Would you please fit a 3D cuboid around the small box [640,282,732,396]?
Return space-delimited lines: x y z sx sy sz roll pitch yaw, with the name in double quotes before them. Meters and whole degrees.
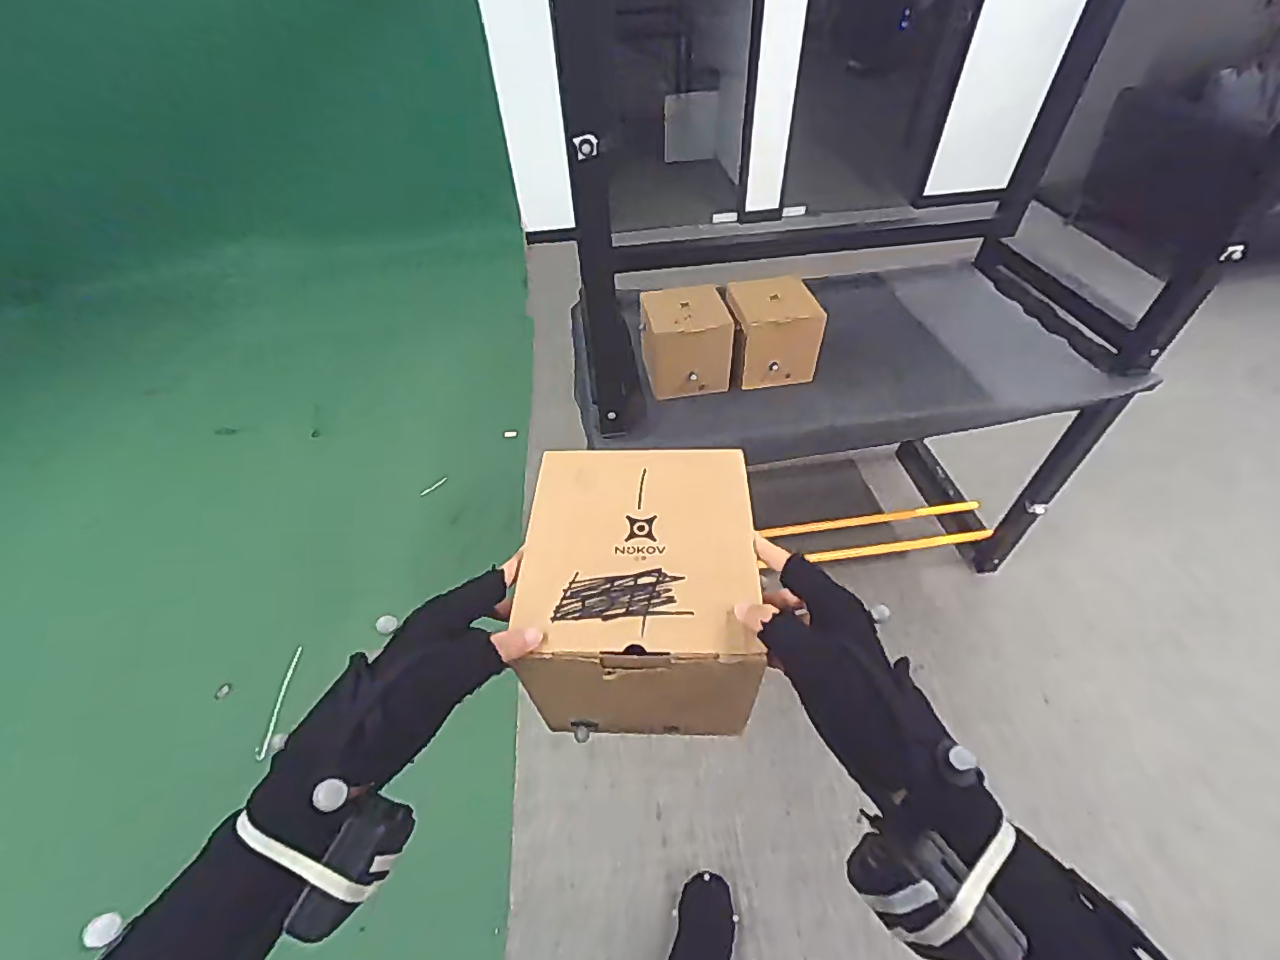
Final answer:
"small box" 0.093 -0.308 1.181 0.168 0.176 0.179 -9 47 -5
